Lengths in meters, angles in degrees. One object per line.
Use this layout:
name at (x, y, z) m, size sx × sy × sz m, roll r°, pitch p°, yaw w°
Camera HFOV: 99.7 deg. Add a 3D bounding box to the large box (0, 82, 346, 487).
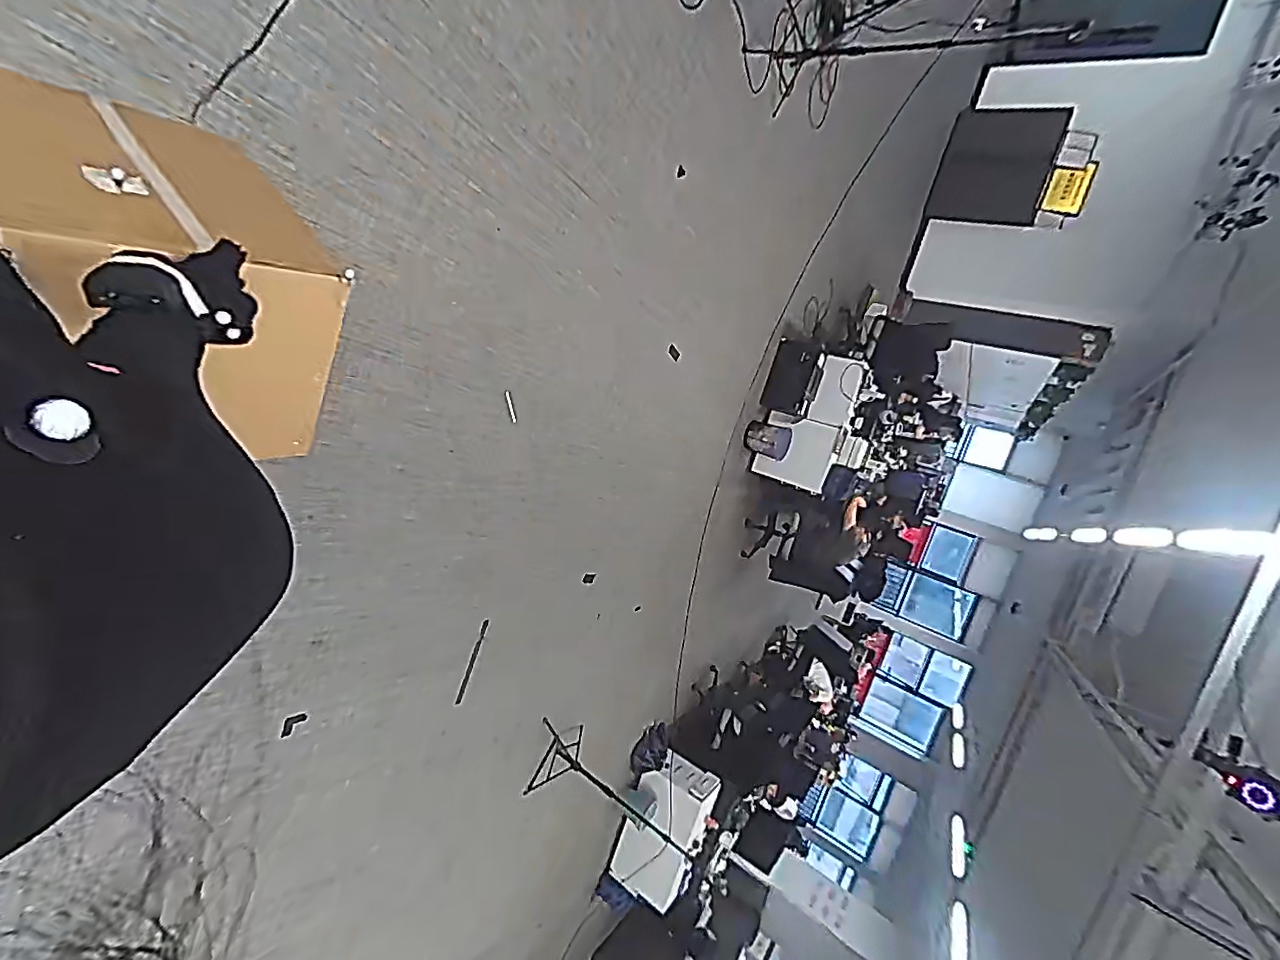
large box at (-0.683, -0.254, 0.735) m, size 0.320 × 0.408 × 0.320 m, roll -17°, pitch 148°, yaw -53°
